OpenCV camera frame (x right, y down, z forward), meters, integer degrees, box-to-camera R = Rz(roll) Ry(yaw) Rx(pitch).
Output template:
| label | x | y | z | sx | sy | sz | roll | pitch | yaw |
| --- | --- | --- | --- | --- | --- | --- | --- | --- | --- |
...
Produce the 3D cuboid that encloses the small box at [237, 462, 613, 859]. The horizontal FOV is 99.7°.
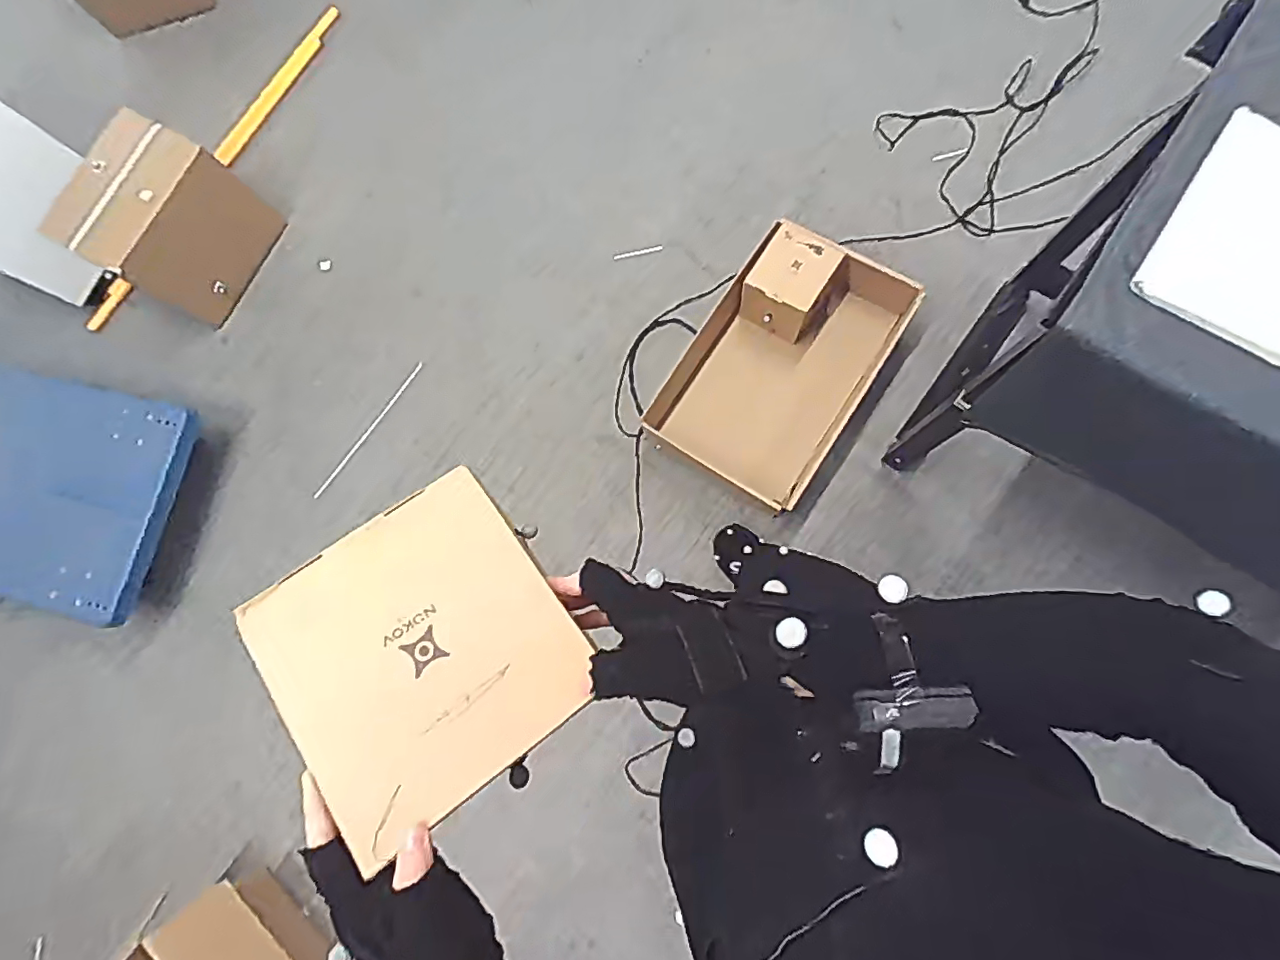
| label | x | y | z | sx | sy | sz | roll | pitch | yaw |
| --- | --- | --- | --- | --- | --- | --- | --- | --- | --- |
| small box | -0.135 | 0.122 | 0.401 | 0.168 | 0.176 | 0.179 | -35 | 76 | -13 |
